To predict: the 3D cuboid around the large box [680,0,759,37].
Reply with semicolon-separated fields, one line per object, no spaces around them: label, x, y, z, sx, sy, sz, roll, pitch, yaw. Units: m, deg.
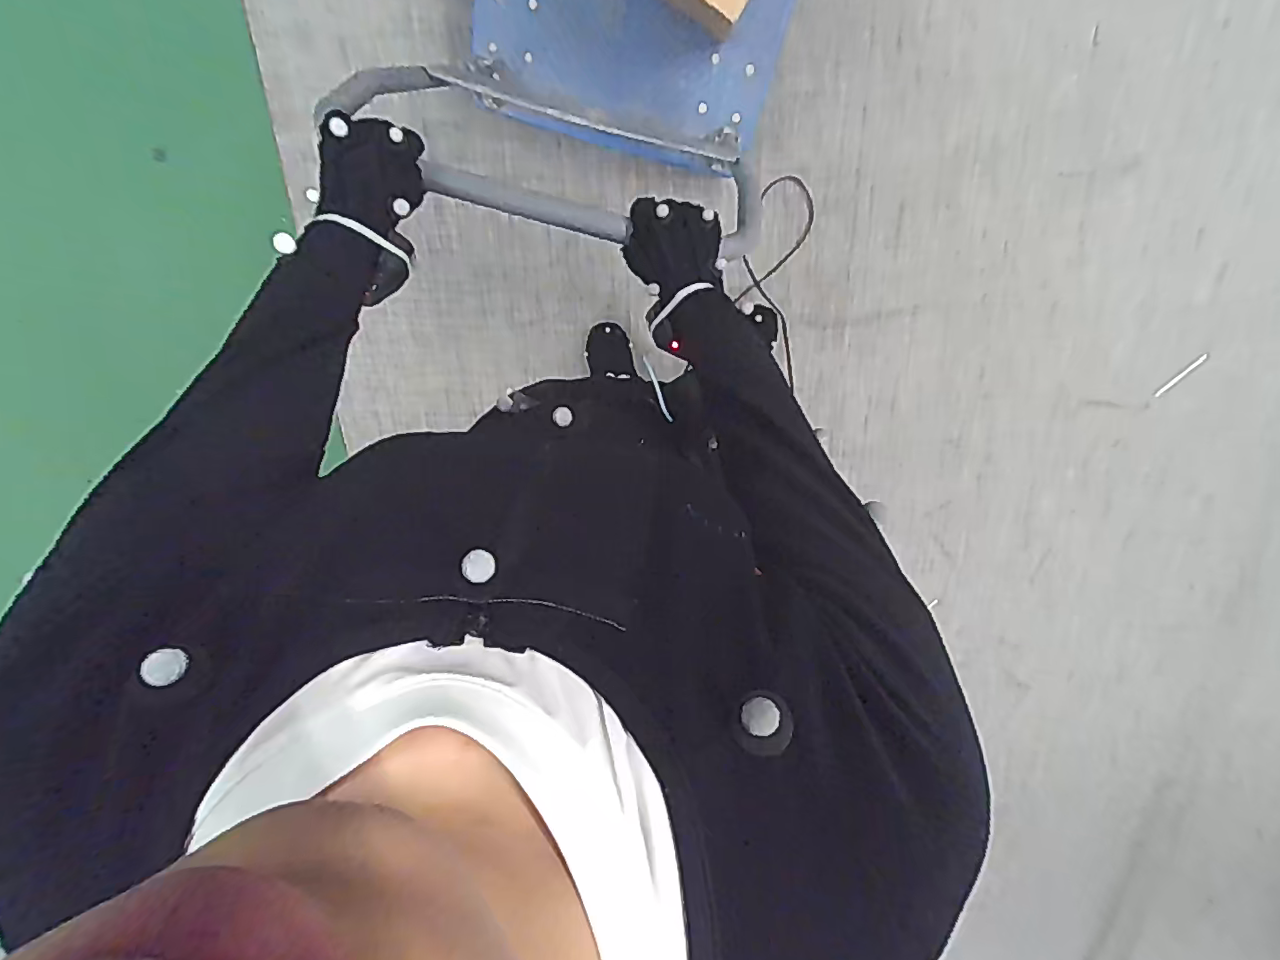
large box;0.062;-0.922;0.764;0.408;0.320;0.320;28;123;-12
